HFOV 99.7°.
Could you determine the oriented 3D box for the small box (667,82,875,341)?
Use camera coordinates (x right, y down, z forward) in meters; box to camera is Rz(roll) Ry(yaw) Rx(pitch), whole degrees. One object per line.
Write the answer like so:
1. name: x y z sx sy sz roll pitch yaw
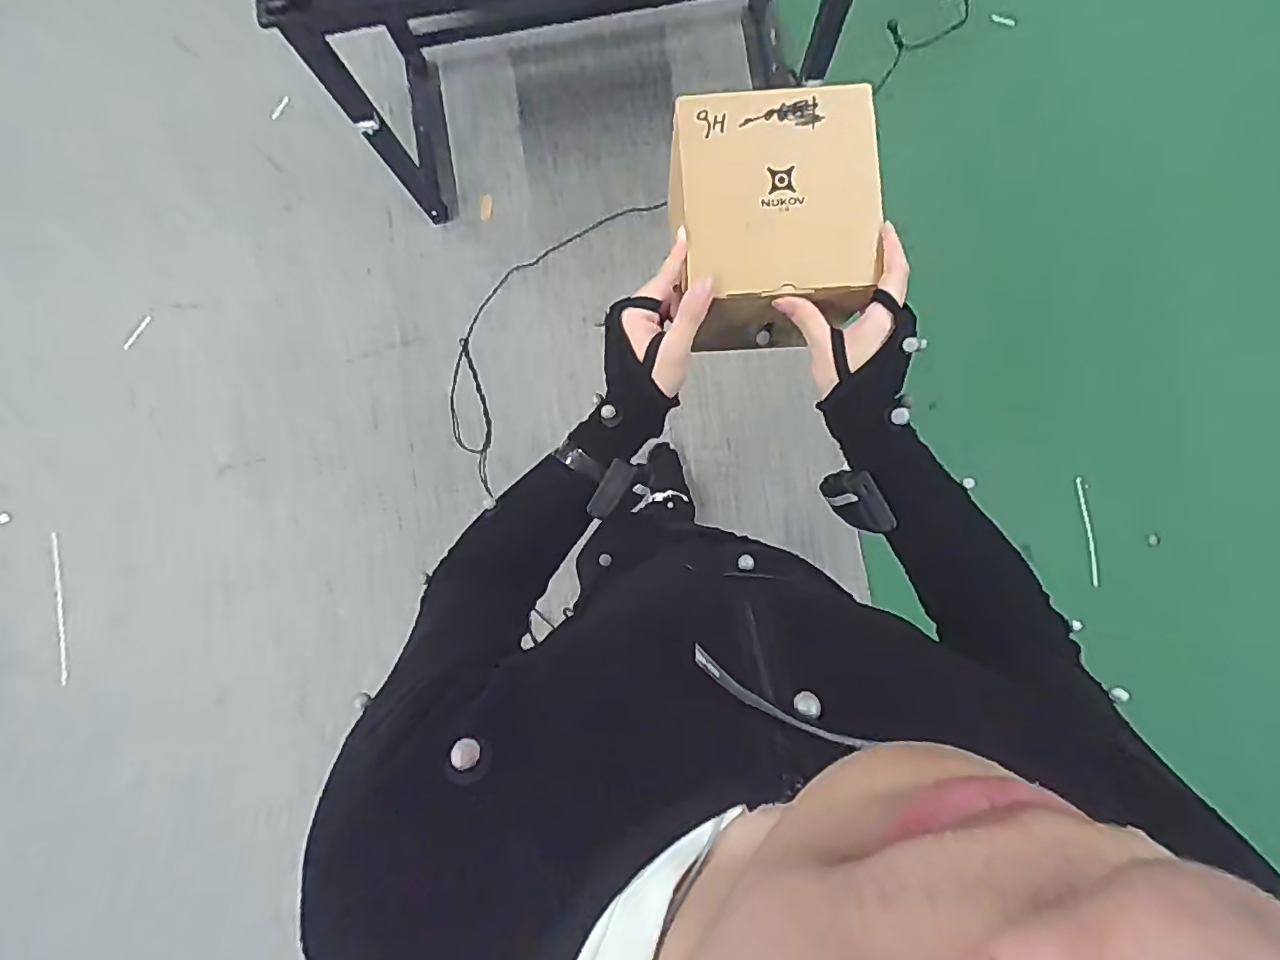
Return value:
1. small box: 0.114 -0.241 0.532 0.168 0.176 0.179 -4 89 1
